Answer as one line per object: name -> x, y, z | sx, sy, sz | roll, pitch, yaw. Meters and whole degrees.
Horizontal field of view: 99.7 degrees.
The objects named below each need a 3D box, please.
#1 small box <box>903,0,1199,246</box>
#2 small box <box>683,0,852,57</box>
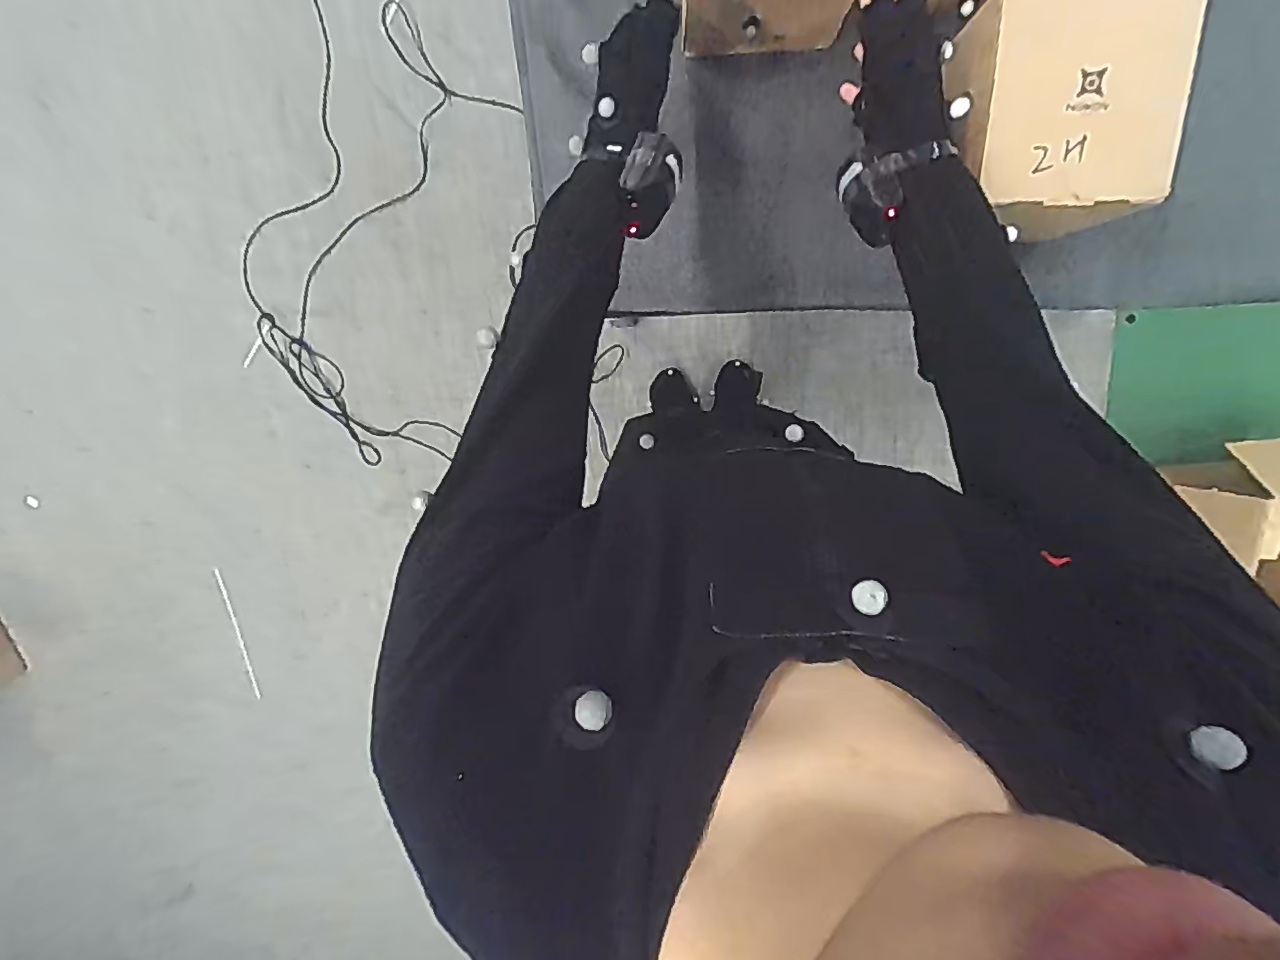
small box -> 0.388, -0.348, 0.548 | 0.168, 0.176, 0.179 | 1, 103, 3
small box -> 0.126, -0.549, 0.517 | 0.168, 0.176, 0.179 | -1, 105, 3
